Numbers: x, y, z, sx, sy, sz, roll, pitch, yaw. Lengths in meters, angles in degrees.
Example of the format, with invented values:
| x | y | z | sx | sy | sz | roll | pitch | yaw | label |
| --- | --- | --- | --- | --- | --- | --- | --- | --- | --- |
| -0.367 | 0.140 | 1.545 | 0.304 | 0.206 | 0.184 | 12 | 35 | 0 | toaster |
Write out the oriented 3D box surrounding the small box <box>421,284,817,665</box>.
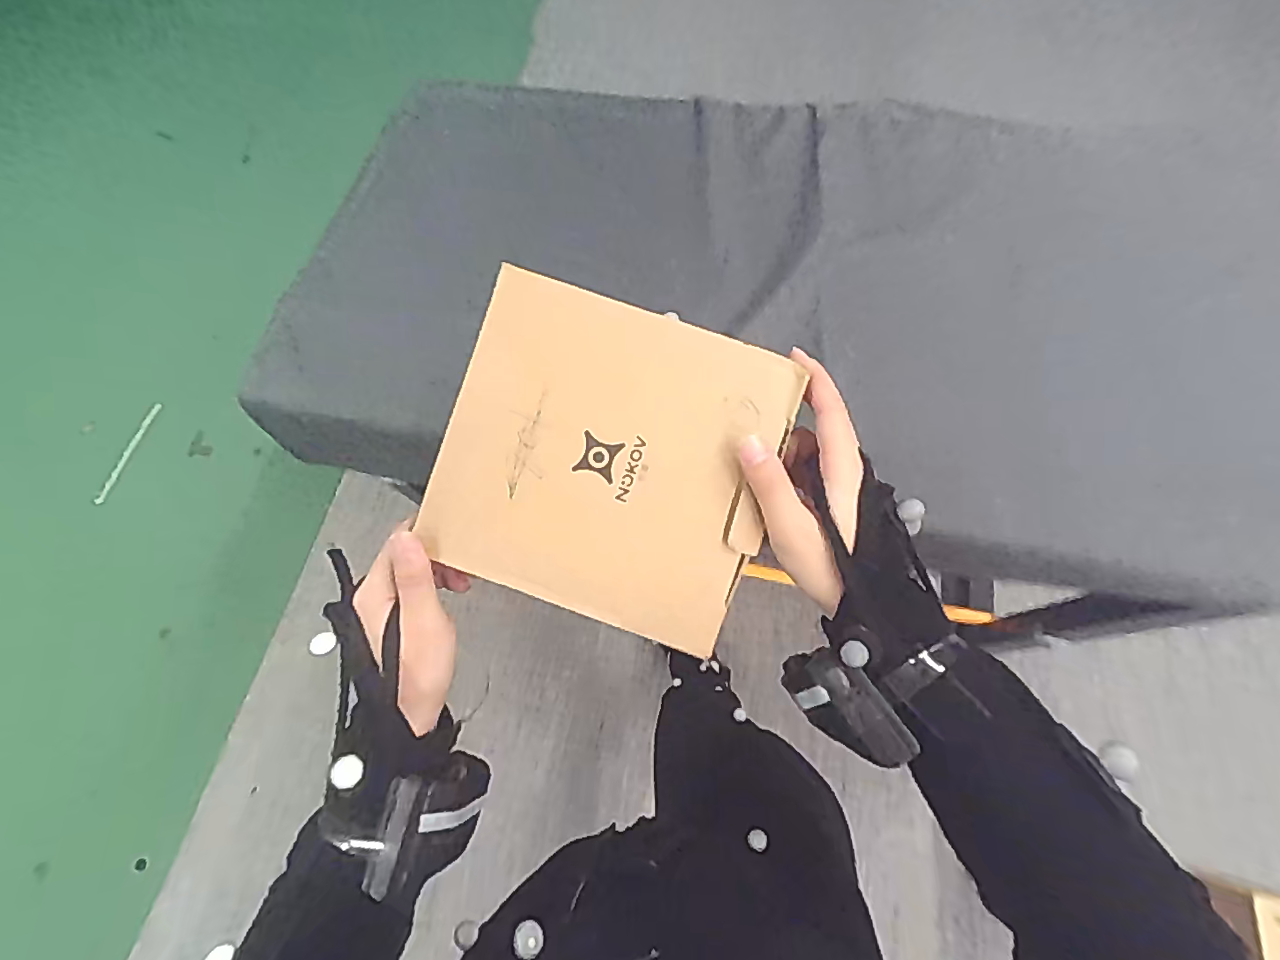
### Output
| x | y | z | sx | sy | sz | roll | pitch | yaw | label |
| --- | --- | --- | --- | --- | --- | --- | --- | --- | --- |
| -0.008 | -0.003 | 0.368 | 0.179 | 0.176 | 0.168 | 18 | 89 | 4 | small box |

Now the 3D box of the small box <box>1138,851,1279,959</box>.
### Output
| x | y | z | sx | sy | sz | roll | pitch | yaw | label |
| --- | --- | --- | --- | --- | --- | --- | --- | --- | --- |
| 0.739 | 0.574 | 0.632 | 0.168 | 0.176 | 0.179 | 11 | 69 | 9 | small box |
